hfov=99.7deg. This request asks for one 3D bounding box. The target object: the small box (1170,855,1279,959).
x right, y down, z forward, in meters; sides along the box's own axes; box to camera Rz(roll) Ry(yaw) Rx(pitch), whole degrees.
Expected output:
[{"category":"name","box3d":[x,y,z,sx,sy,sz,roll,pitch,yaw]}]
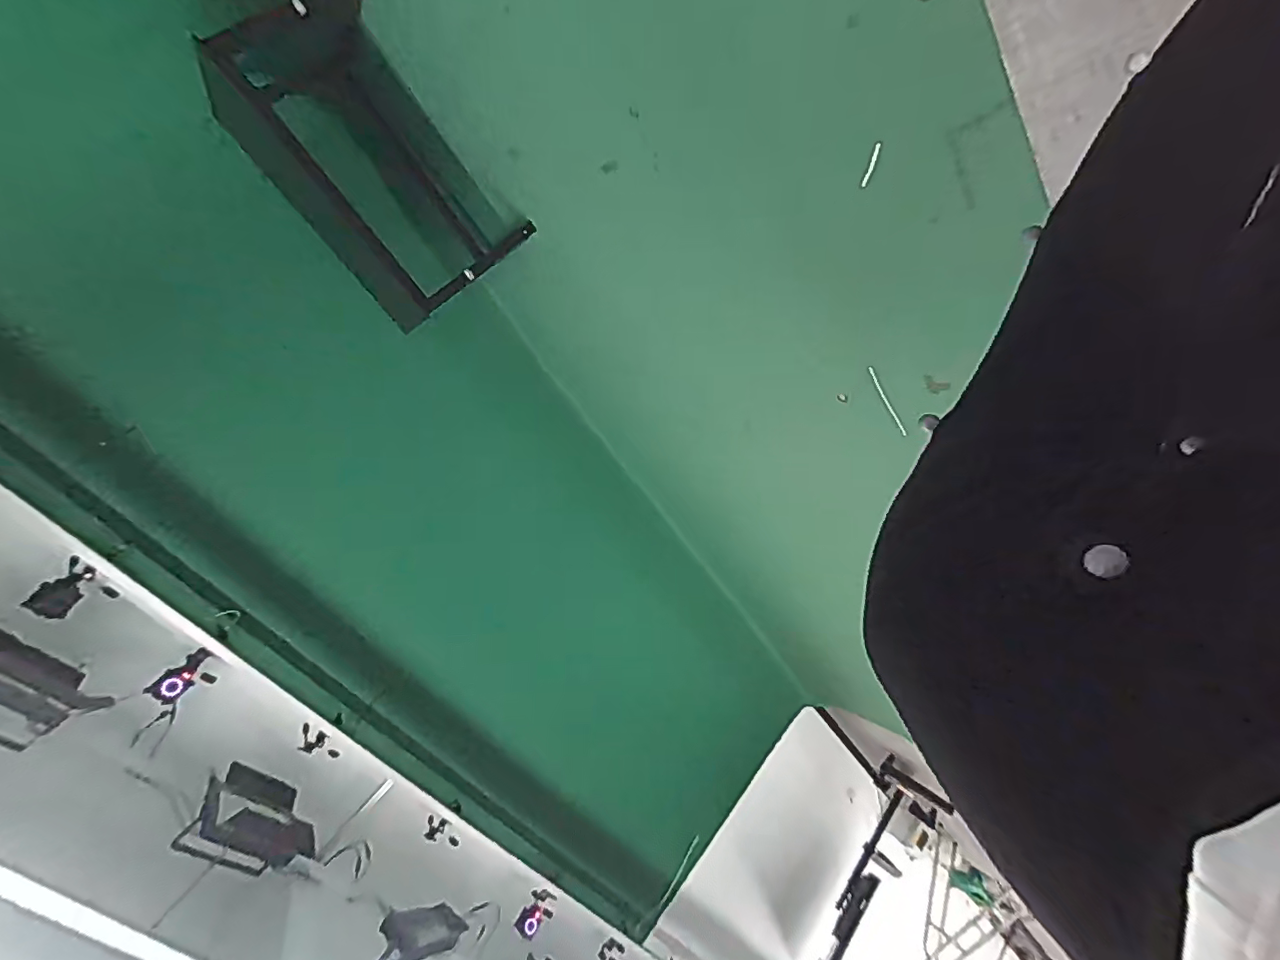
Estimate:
[{"category":"small box","box3d":[1.507,1.118,1.381,0.179,0.176,0.168,50,157,-21]}]
